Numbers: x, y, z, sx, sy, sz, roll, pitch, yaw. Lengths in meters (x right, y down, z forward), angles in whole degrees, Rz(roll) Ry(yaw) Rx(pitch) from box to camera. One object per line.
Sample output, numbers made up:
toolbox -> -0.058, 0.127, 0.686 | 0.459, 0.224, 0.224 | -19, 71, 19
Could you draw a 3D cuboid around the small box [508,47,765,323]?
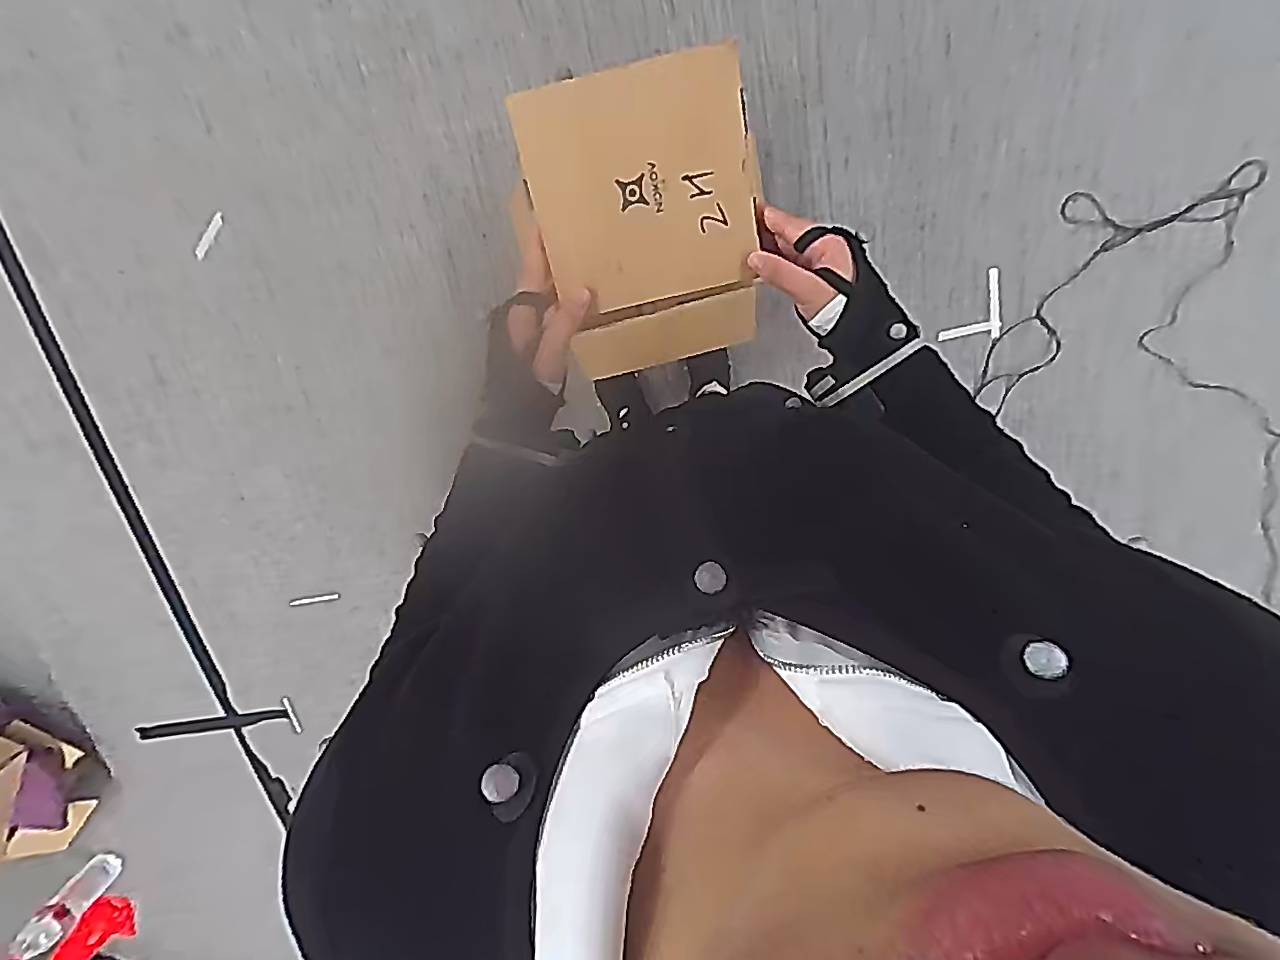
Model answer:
small box -> 0.000, -0.251, 0.492 | 0.179, 0.176, 0.168 | -12, 115, 2
